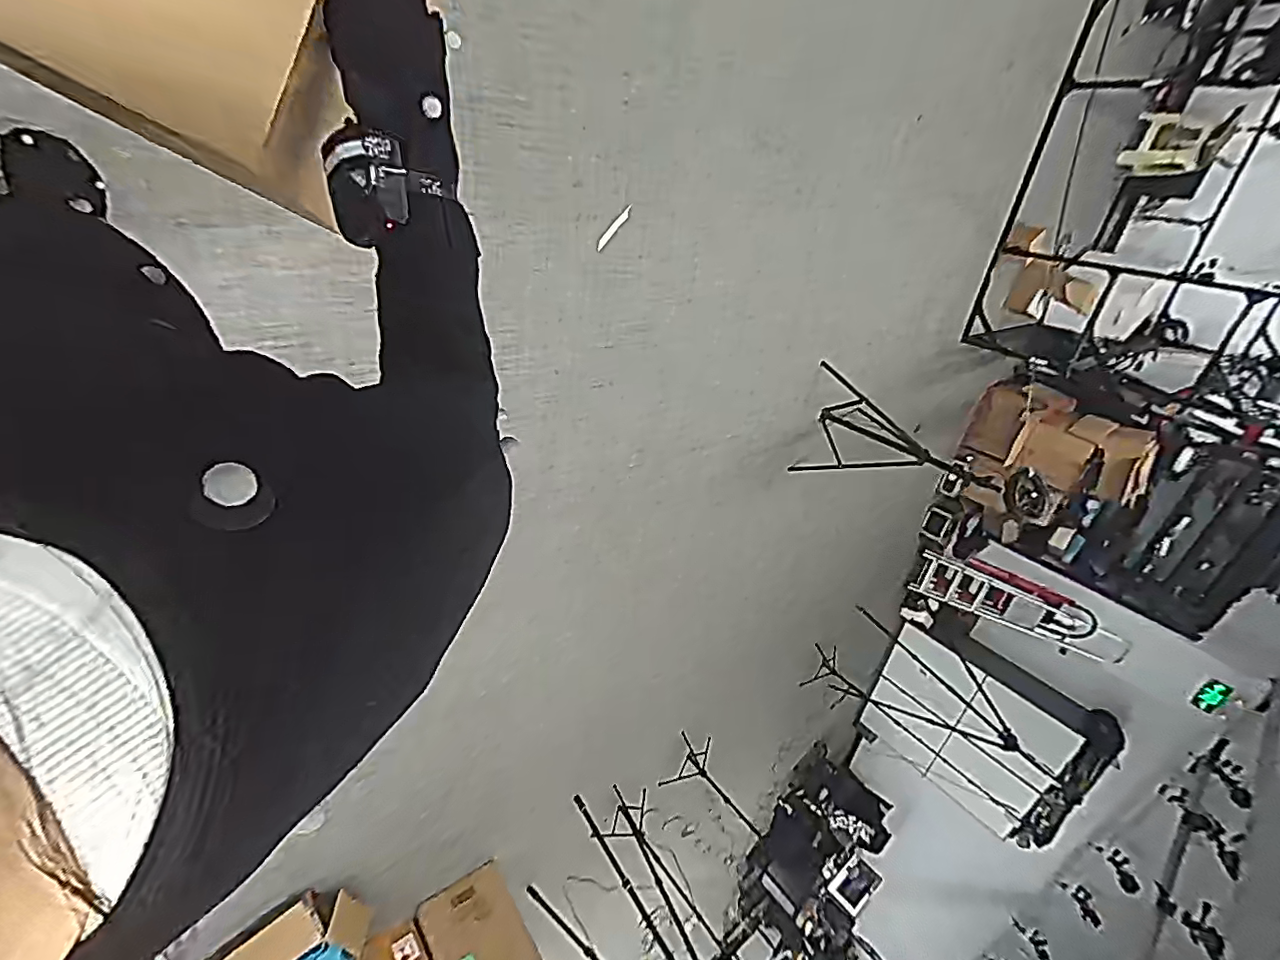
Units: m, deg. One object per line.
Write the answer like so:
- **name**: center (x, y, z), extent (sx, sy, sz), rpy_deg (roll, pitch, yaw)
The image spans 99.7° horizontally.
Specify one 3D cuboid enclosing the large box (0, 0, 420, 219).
- **large box**: center (-0.410, -0.460, 0.400), extent (0.408, 0.320, 0.320), rpy_deg (22, 99, -25)
